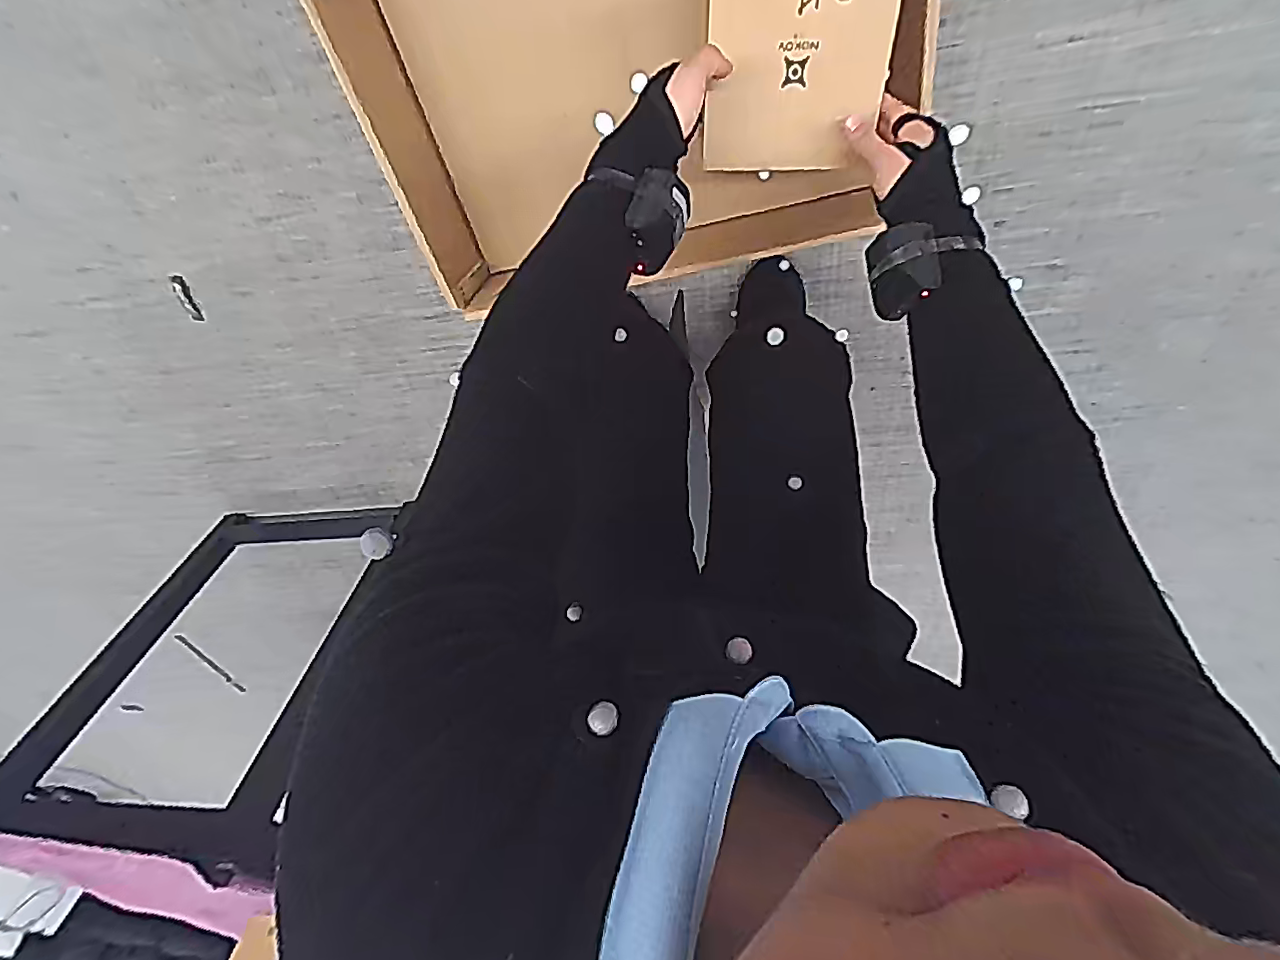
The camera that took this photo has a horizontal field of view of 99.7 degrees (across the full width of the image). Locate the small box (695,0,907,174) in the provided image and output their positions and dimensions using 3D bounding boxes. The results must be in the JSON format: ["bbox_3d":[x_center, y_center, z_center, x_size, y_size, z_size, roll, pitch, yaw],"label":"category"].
[{"bbox_3d":[0.147,-0.419,0.549,0.168,0.176,0.179,1,123,1],"label":"small box"}]

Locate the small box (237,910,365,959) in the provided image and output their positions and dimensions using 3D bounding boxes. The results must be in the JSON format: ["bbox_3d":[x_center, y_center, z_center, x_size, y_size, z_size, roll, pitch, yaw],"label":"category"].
[{"bbox_3d":[-0.700,0.993,1.093,0.168,0.176,0.179,-3,132,10],"label":"small box"}]
